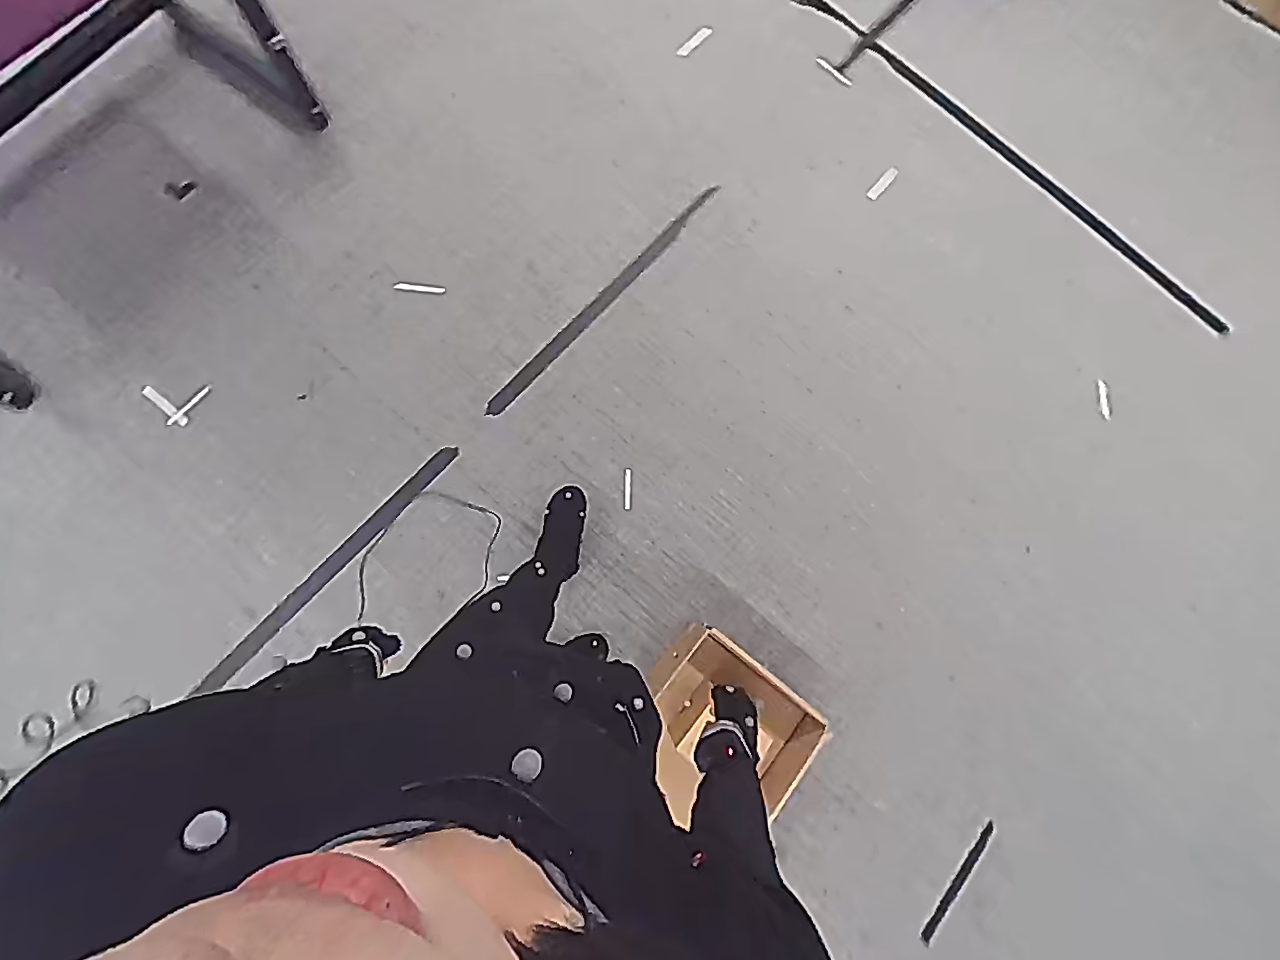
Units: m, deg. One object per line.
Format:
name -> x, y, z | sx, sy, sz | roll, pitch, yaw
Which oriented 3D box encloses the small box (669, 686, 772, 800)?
small box -> 0.193, 0.642, 1.346 | 0.179, 0.176, 0.168 | 40, 80, 3
